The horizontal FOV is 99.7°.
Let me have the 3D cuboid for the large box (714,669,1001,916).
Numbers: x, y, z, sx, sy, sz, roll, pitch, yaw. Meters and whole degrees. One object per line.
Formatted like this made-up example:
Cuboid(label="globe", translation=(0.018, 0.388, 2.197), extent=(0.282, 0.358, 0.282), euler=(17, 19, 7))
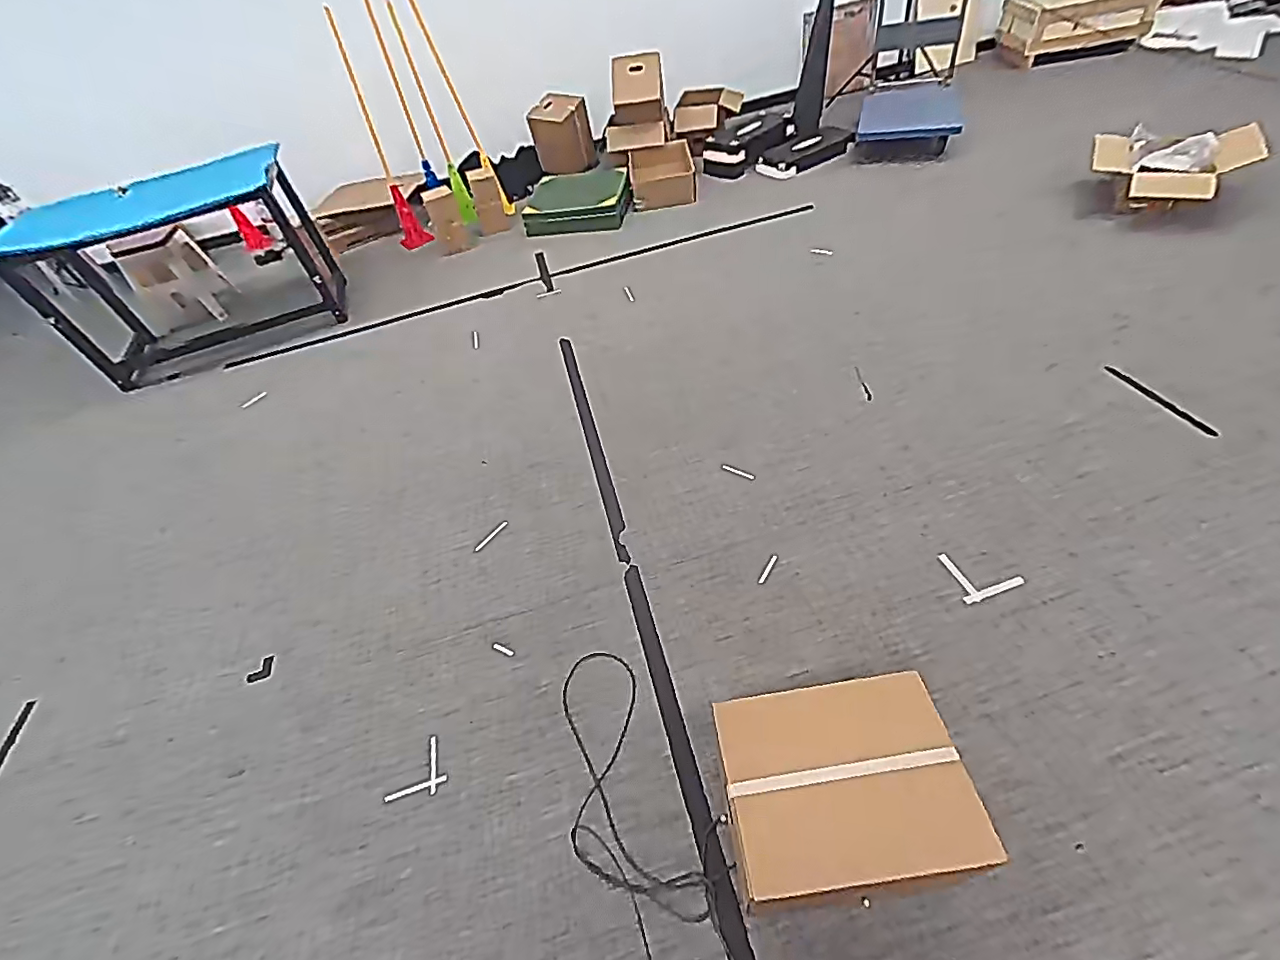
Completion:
Cuboid(label="large box", translation=(0.377, 0.615, 1.059), extent=(0.408, 0.320, 0.320), euler=(-10, 47, 1))
